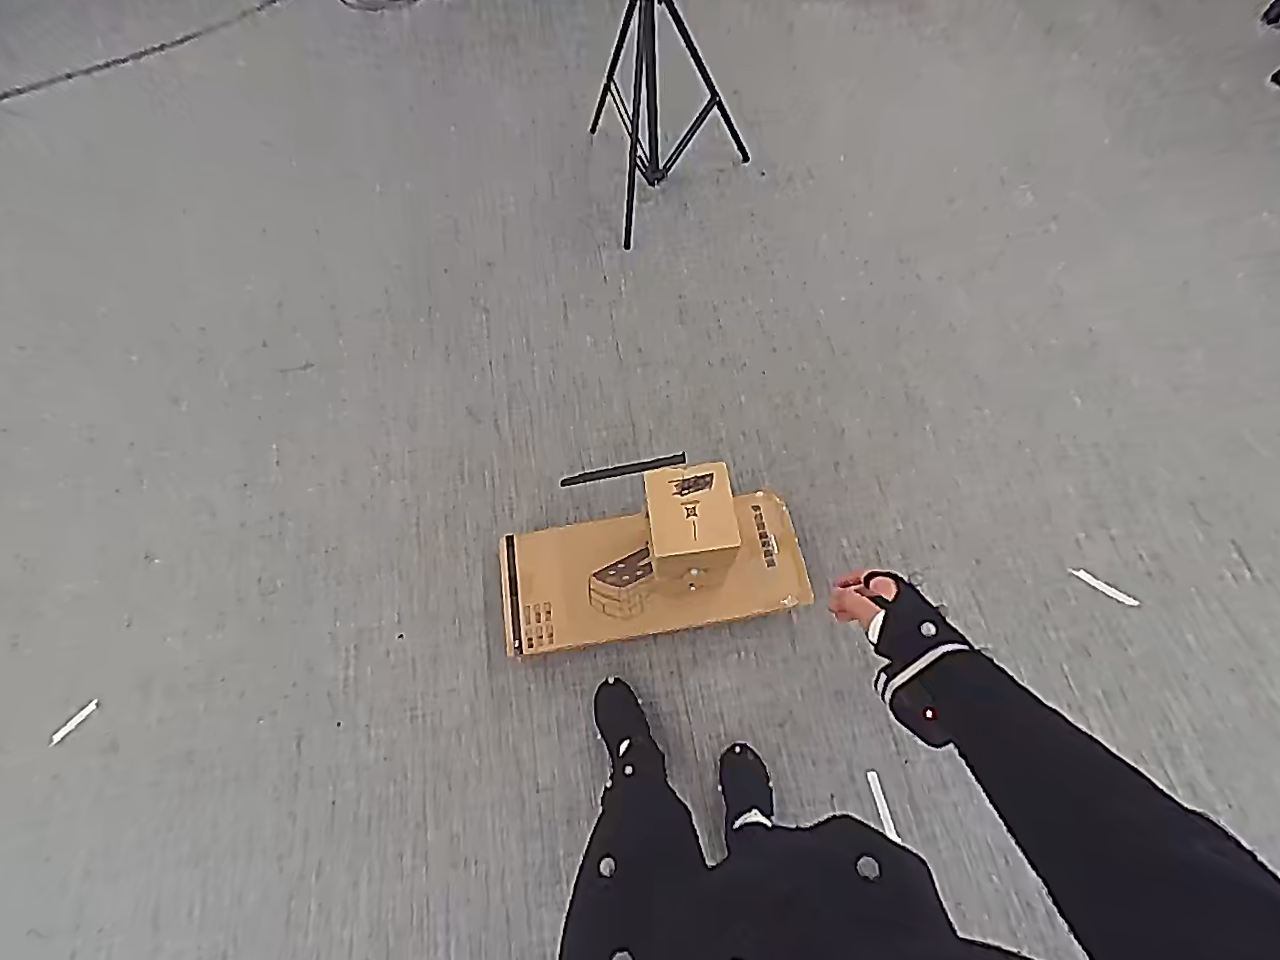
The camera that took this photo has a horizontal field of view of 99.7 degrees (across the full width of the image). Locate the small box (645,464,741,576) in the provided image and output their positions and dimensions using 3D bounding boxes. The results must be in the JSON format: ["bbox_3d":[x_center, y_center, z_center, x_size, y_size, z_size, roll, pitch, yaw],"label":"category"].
[{"bbox_3d":[0.102,0.086,1.109,0.168,0.176,0.179,-8,68,1],"label":"small box"}]

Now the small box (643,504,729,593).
[{"bbox_3d":[0.102,0.151,1.260,0.168,0.176,0.179,-11,67,-1],"label":"small box"}]
